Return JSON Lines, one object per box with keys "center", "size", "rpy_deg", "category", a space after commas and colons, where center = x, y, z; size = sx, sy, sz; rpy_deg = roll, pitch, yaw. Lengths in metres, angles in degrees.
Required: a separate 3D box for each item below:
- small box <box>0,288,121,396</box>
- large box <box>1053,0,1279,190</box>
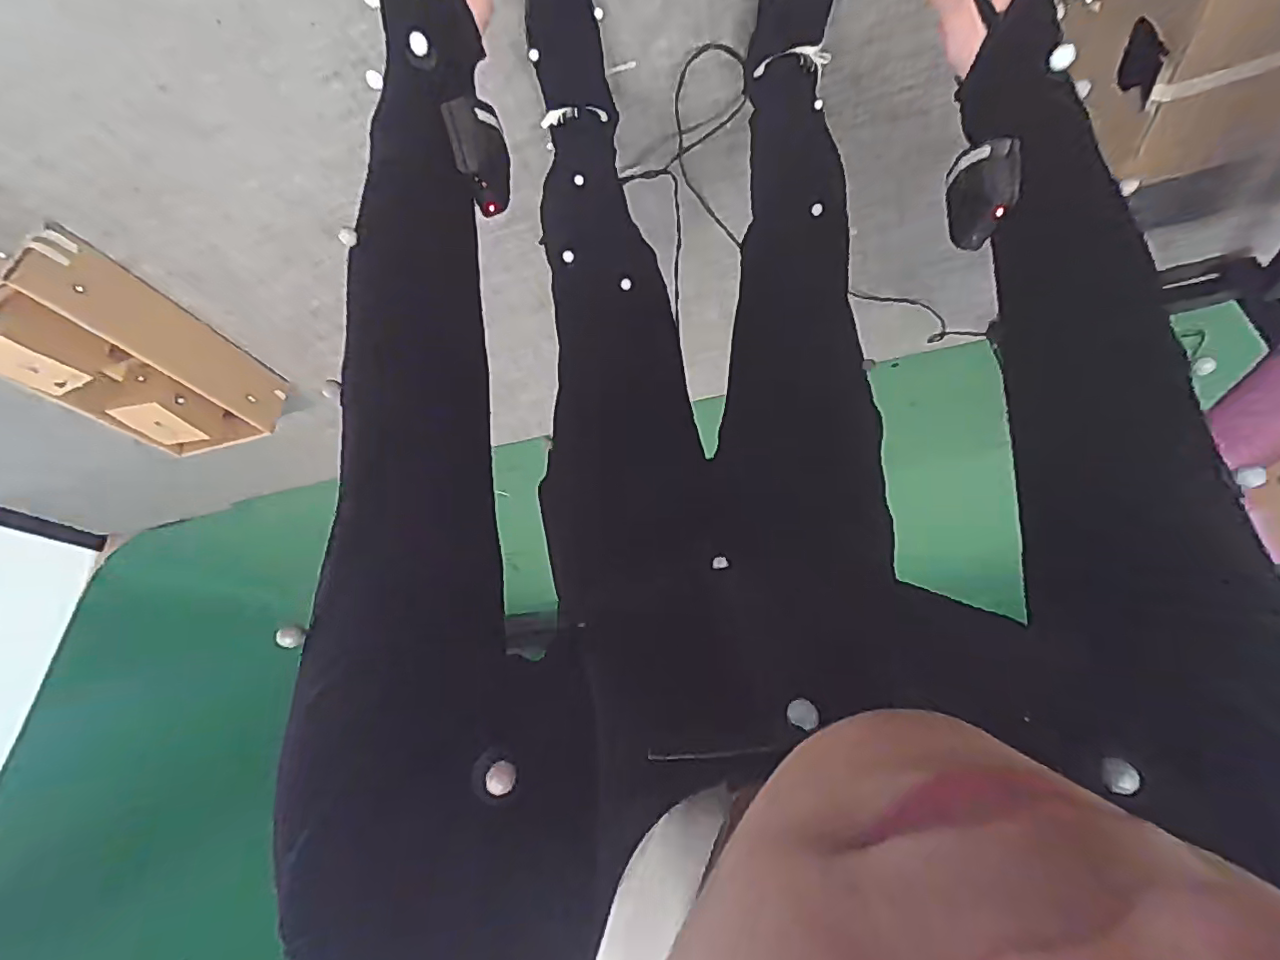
{"center": [-1.420, -0.334, 1.296], "size": [0.168, 0.176, 0.179], "rpy_deg": [-13, 151, 20], "category": "small box"}
{"center": [0.854, -0.667, 0.697], "size": [0.408, 0.320, 0.320], "rpy_deg": [-12, 151, 17], "category": "large box"}
